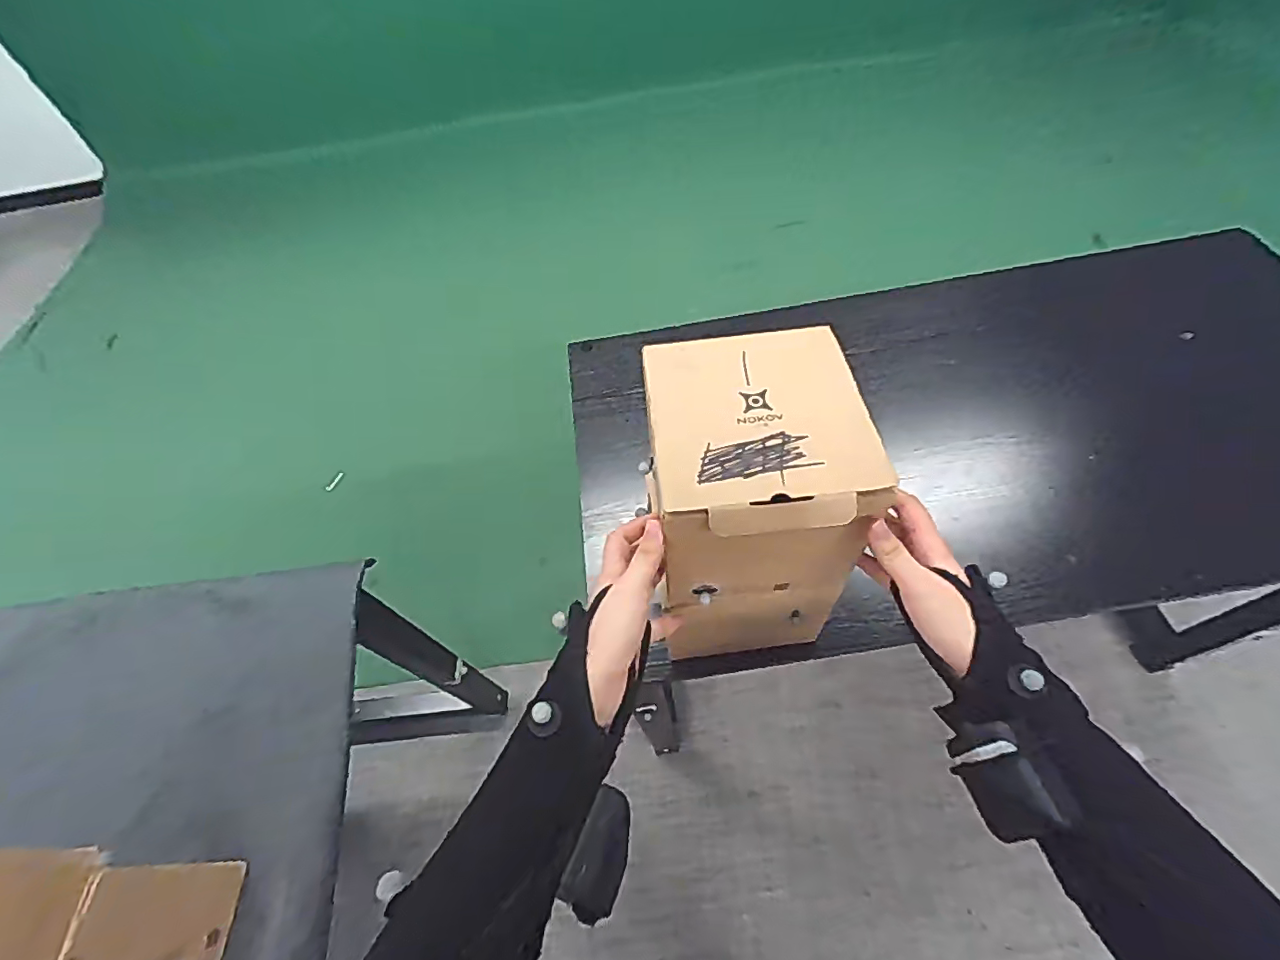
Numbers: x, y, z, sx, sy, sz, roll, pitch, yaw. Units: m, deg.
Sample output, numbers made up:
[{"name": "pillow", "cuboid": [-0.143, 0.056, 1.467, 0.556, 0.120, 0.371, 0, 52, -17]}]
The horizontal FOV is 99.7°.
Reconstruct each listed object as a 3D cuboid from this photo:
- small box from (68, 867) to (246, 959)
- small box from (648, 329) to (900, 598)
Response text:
[{"name": "small box", "cuboid": [-0.495, 0.442, 0.464, 0.179, 0.176, 0.168, -7, 56, 4]}, {"name": "small box", "cuboid": [0.100, -0.004, 0.483, 0.168, 0.176, 0.179, -6, 55, 1]}]
